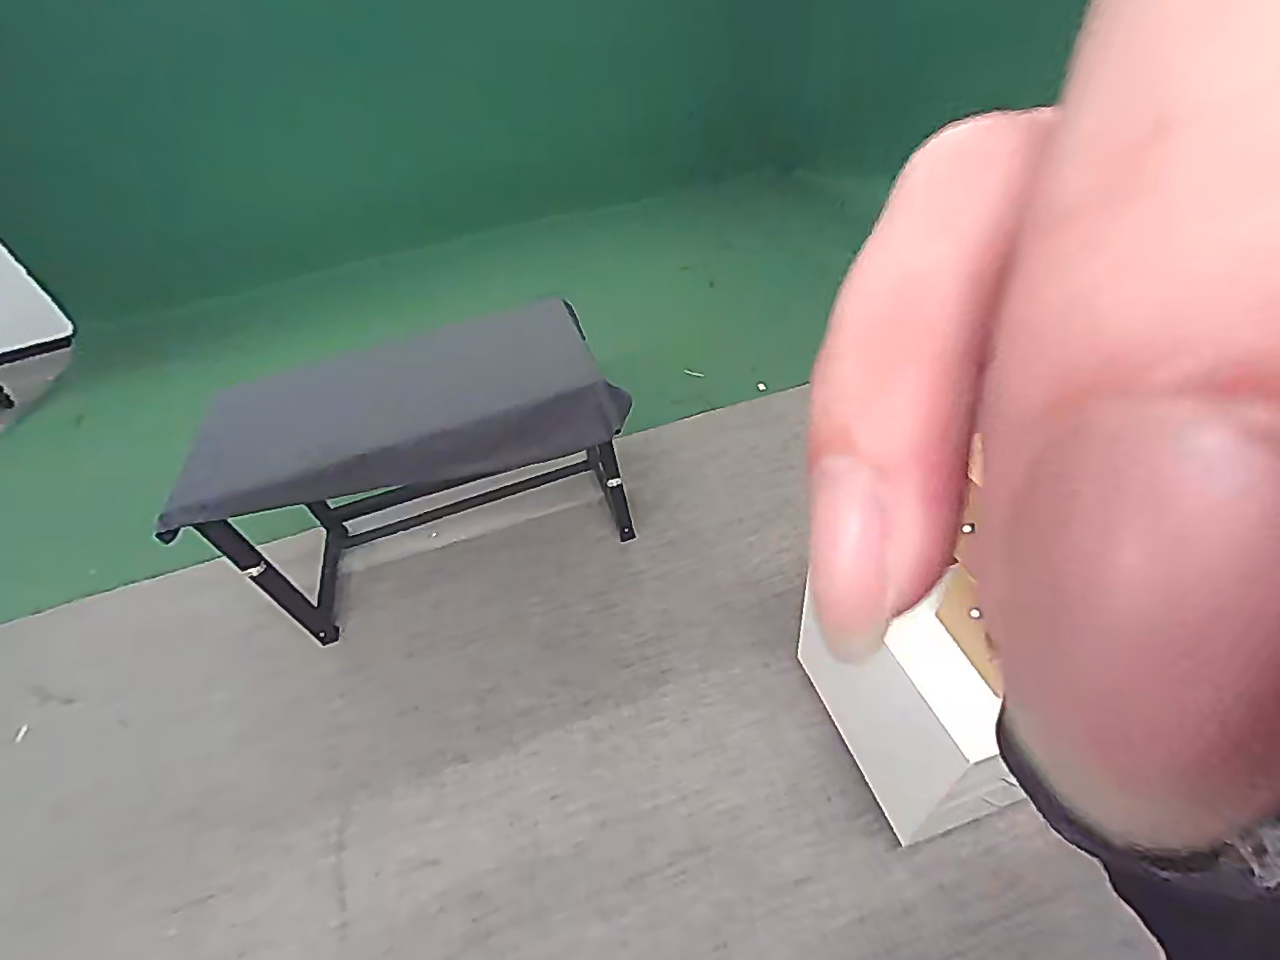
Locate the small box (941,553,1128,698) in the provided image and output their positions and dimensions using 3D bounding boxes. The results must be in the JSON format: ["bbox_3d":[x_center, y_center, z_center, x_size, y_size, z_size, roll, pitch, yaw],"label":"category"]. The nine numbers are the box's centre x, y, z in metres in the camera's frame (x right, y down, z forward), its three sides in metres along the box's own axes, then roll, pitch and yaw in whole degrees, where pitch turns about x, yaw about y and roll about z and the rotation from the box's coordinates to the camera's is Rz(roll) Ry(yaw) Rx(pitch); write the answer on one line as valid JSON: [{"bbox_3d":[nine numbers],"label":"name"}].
[{"bbox_3d":[0.654,0.239,0.928,0.168,0.176,0.179,-16,44,-4],"label":"small box"}]
